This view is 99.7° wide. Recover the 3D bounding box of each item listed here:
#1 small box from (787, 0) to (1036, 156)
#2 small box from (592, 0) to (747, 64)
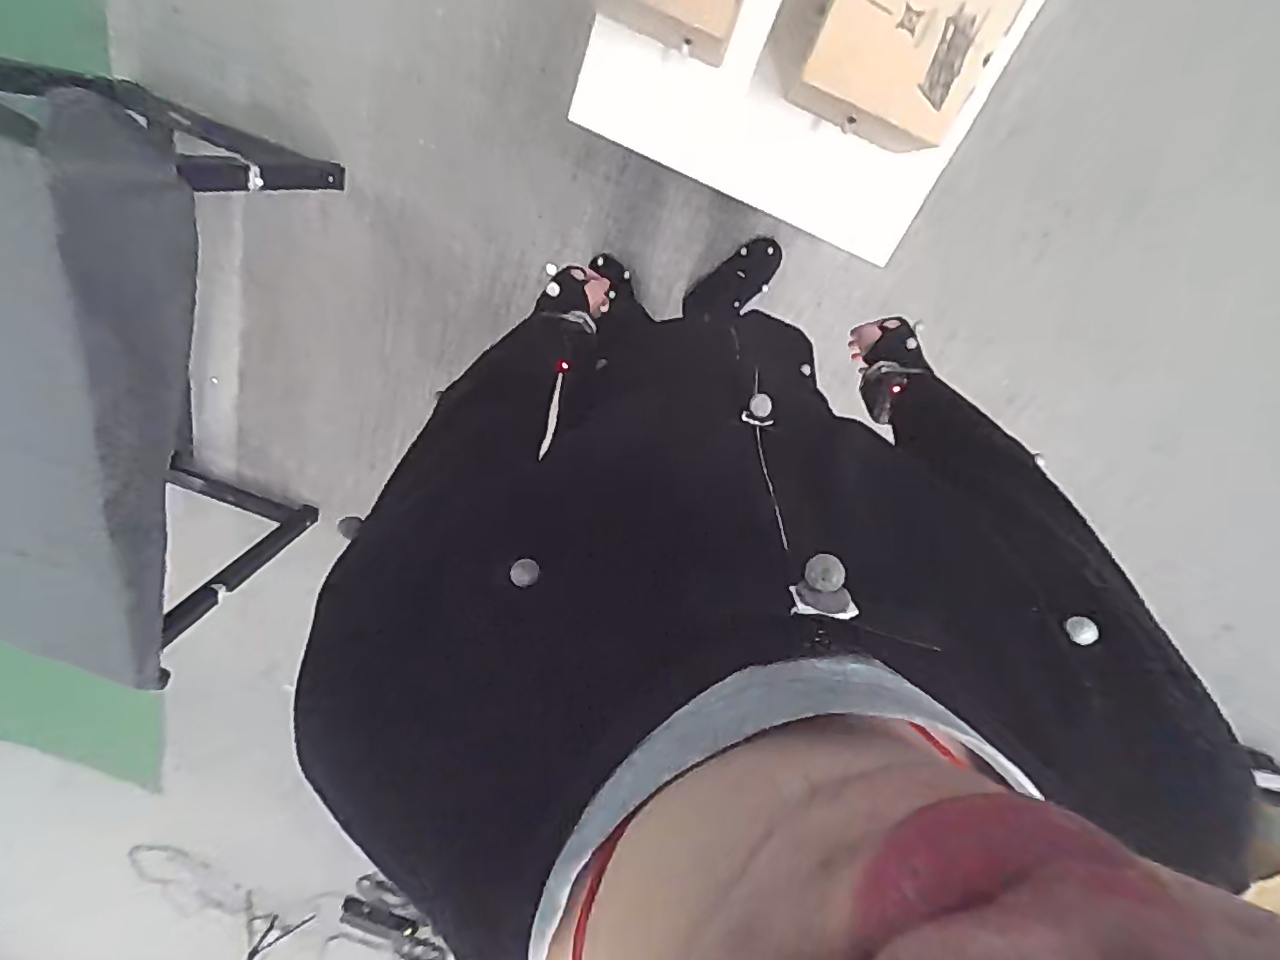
[{"bbox_3d":[0.292,-0.493,0.616,0.179,0.176,0.168,23,118,-6],"label":"small box"},{"bbox_3d":[0.048,-0.594,0.593,0.179,0.176,0.168,21,116,-5],"label":"small box"}]
